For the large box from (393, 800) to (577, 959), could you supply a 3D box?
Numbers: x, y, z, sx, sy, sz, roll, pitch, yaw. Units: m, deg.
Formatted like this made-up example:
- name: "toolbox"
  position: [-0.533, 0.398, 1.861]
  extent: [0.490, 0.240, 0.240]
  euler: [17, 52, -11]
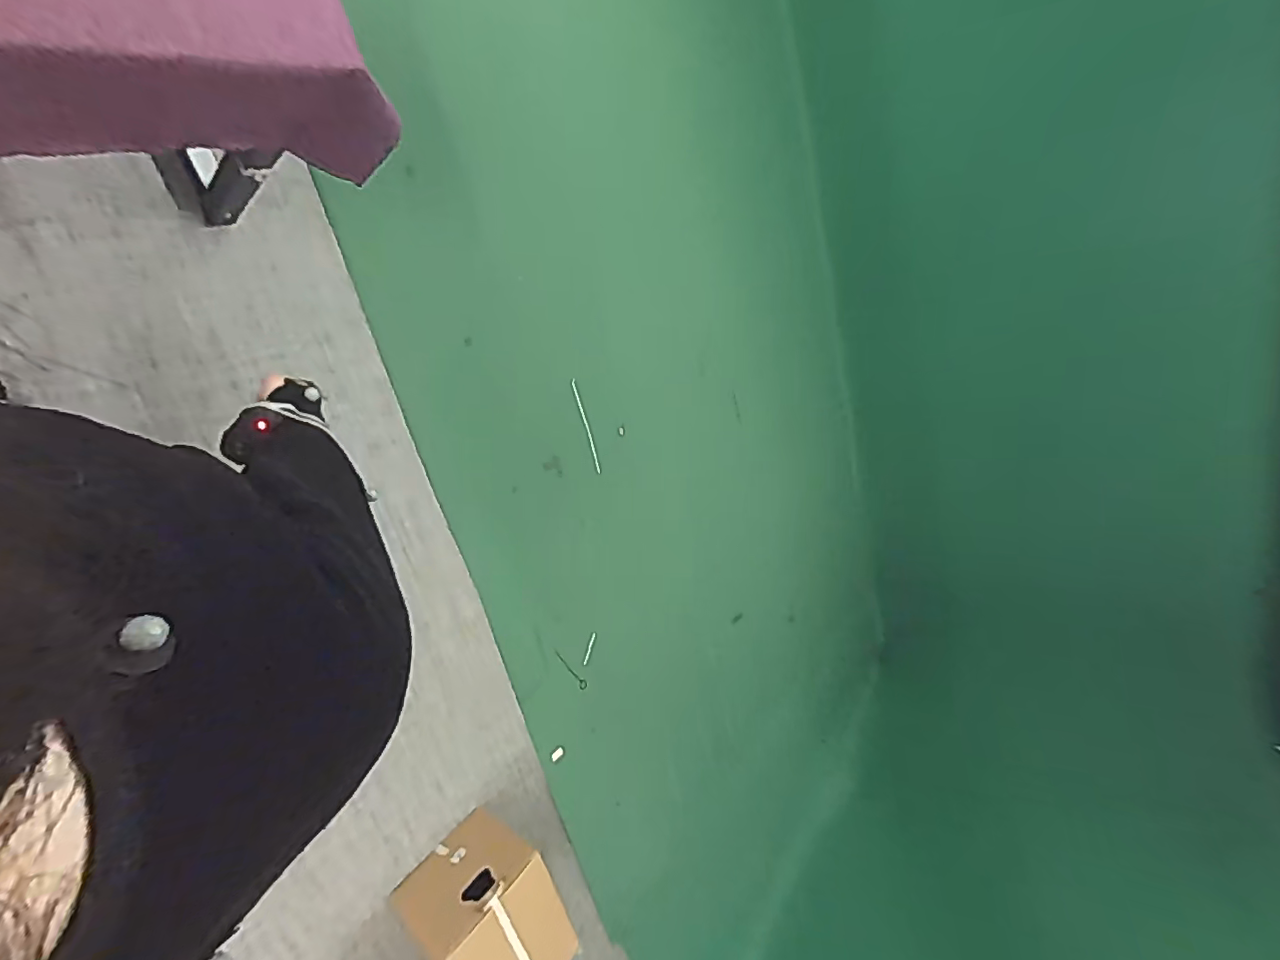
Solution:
- name: "large box"
  position: [-0.450, 1.257, 1.594]
  extent: [0.320, 0.320, 0.408]
  euler: [-34, 116, -43]
